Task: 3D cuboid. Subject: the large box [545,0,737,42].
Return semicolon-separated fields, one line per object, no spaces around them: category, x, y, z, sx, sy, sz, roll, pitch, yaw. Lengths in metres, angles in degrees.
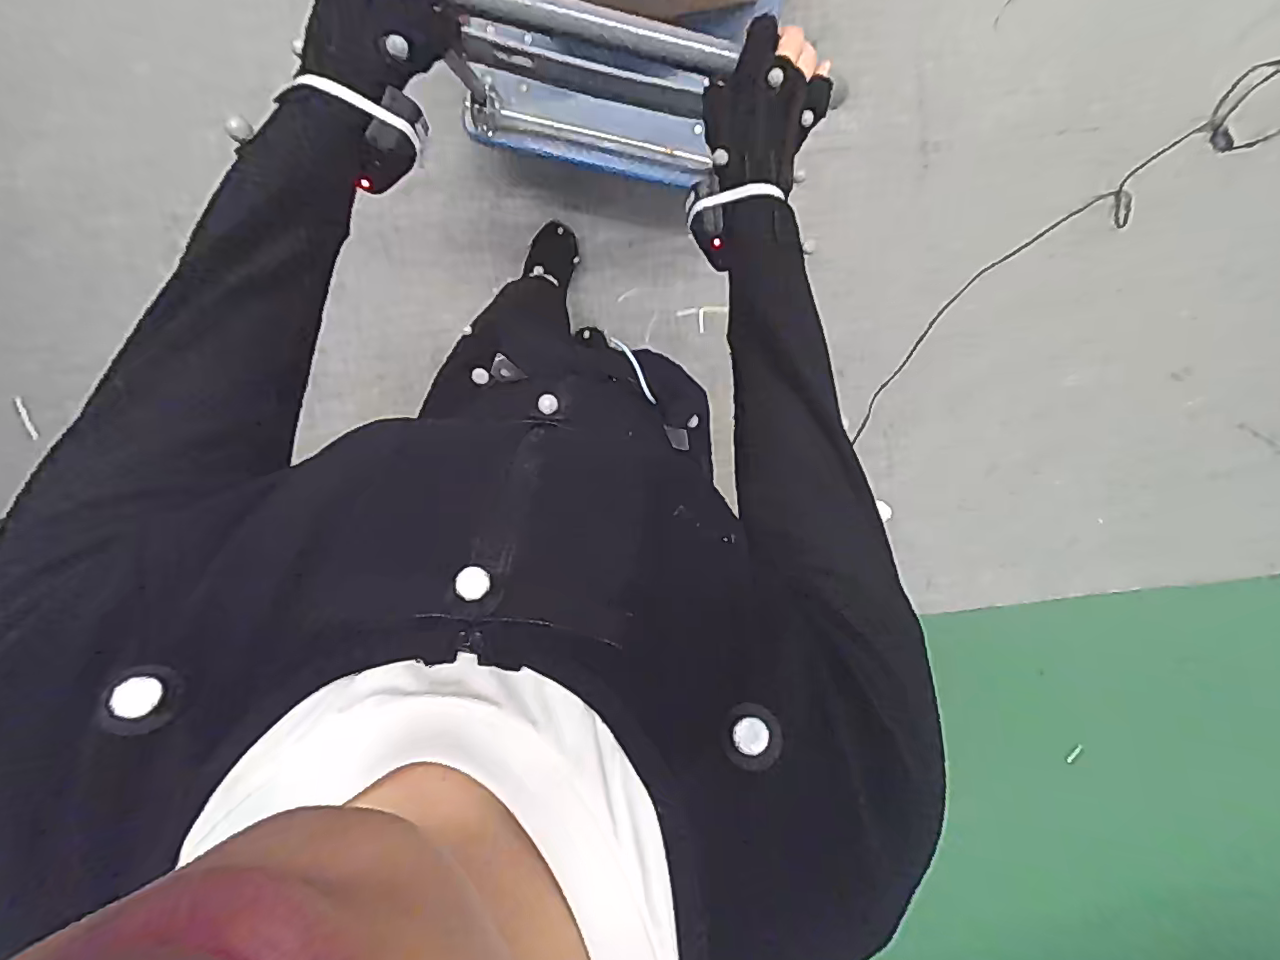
large box;0.010;-0.970;0.850;0.408;0.320;0.320;-11;110;2
